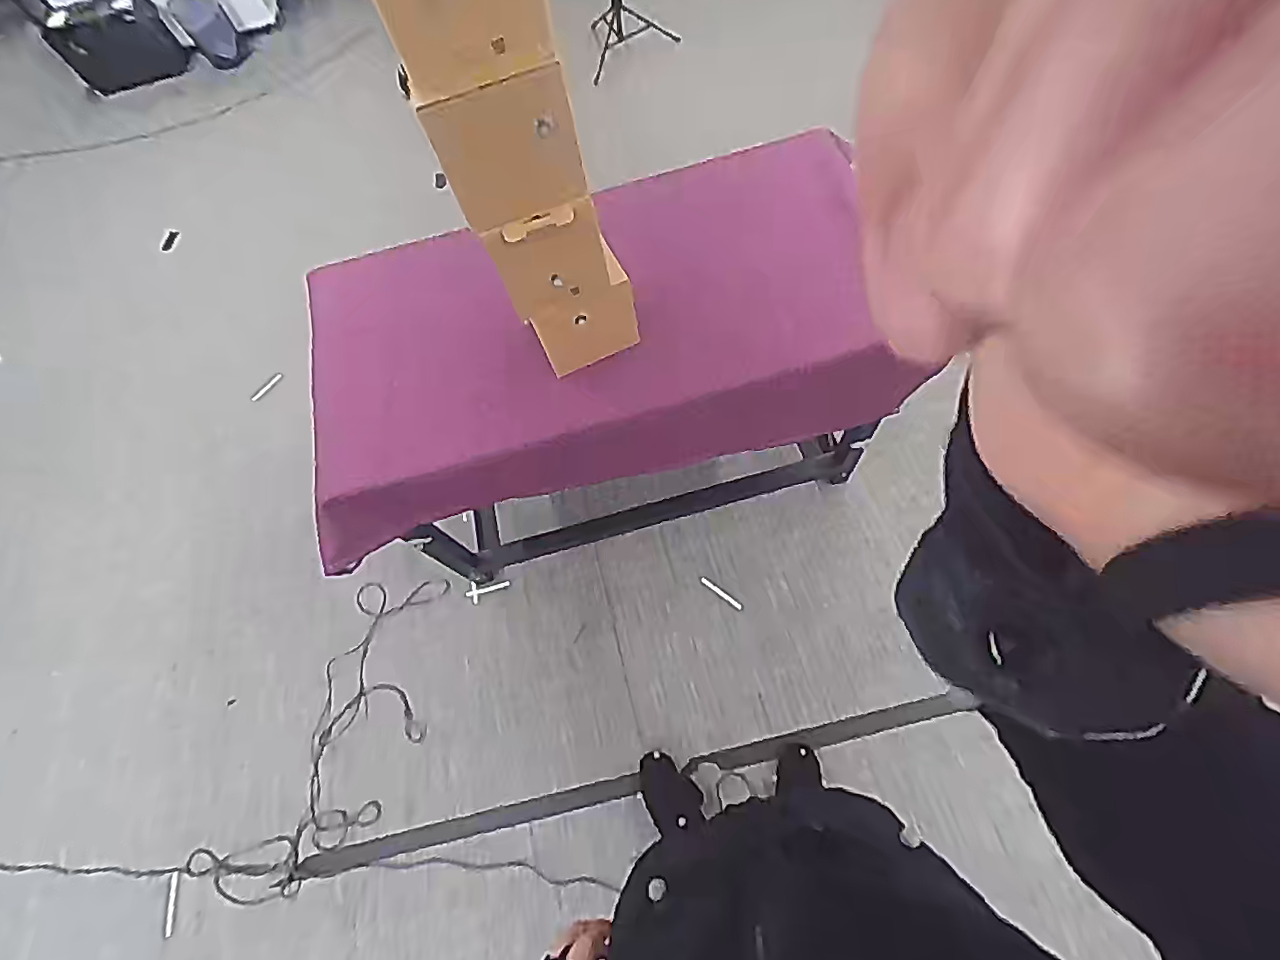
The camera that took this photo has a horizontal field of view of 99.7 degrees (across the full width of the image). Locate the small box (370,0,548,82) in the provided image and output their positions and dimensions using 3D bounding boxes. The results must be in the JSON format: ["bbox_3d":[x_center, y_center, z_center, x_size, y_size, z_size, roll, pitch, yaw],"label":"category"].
[{"bbox_3d":[-0.210,-0.558,0.567,0.168,0.176,0.179,-20,64,-2],"label":"small box"}]

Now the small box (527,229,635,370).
[{"bbox_3d":[-0.124,-0.333,0.997,0.179,0.176,0.168,-25,65,-5],"label":"small box"}]

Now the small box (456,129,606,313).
[{"bbox_3d":[-0.165,-0.400,0.851,0.168,0.176,0.179,-21,65,-2],"label":"small box"}]
